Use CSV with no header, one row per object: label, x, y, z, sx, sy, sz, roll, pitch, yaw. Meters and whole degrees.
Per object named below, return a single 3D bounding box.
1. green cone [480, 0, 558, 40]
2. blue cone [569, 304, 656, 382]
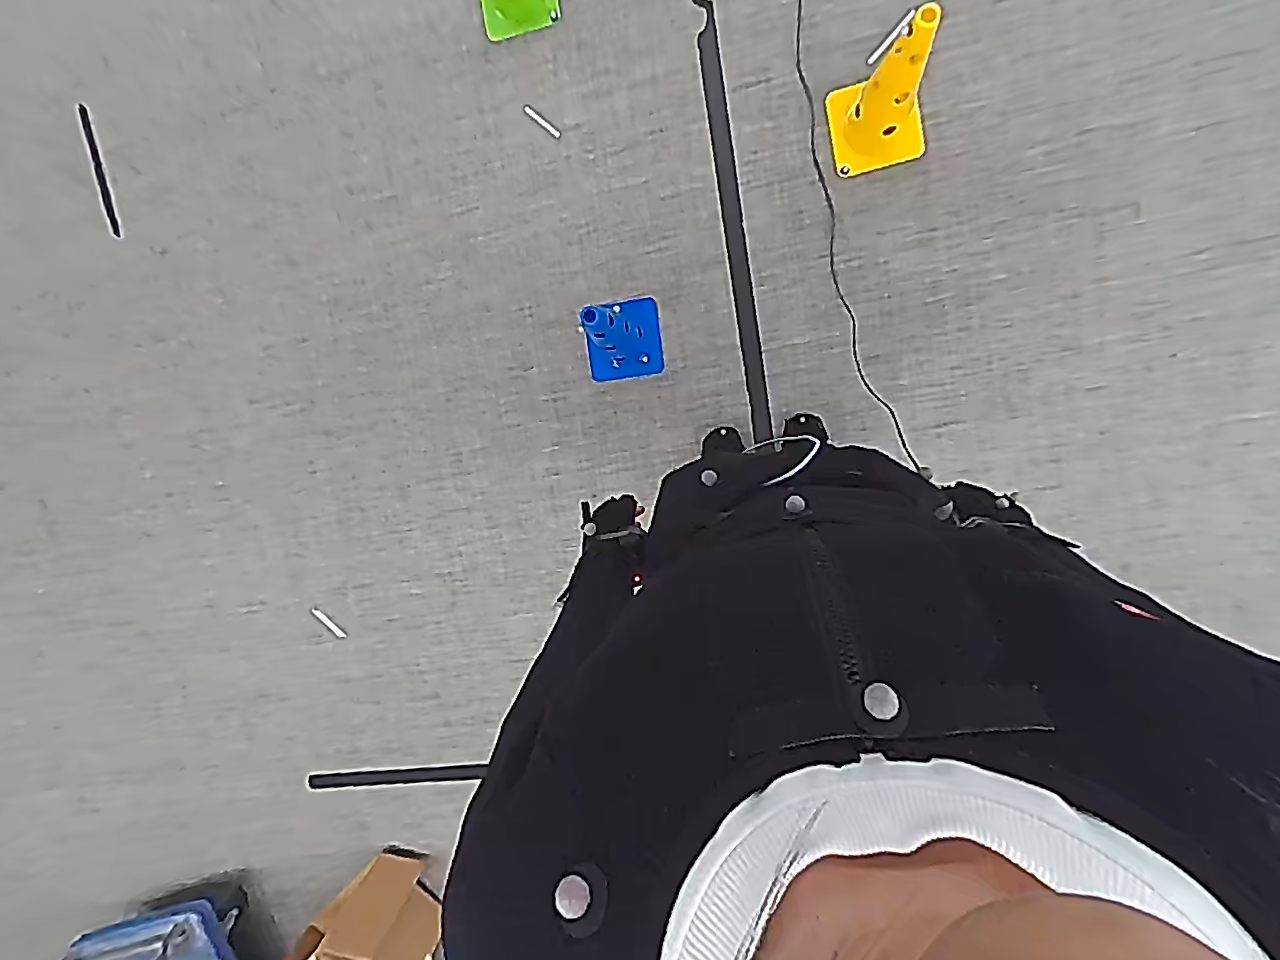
green cone,-0.346,-1.226,1.203,0.202,0.368,0.200,-8,95,12
blue cone,-0.084,-0.348,1.276,0.192,0.380,0.193,-5,95,11
